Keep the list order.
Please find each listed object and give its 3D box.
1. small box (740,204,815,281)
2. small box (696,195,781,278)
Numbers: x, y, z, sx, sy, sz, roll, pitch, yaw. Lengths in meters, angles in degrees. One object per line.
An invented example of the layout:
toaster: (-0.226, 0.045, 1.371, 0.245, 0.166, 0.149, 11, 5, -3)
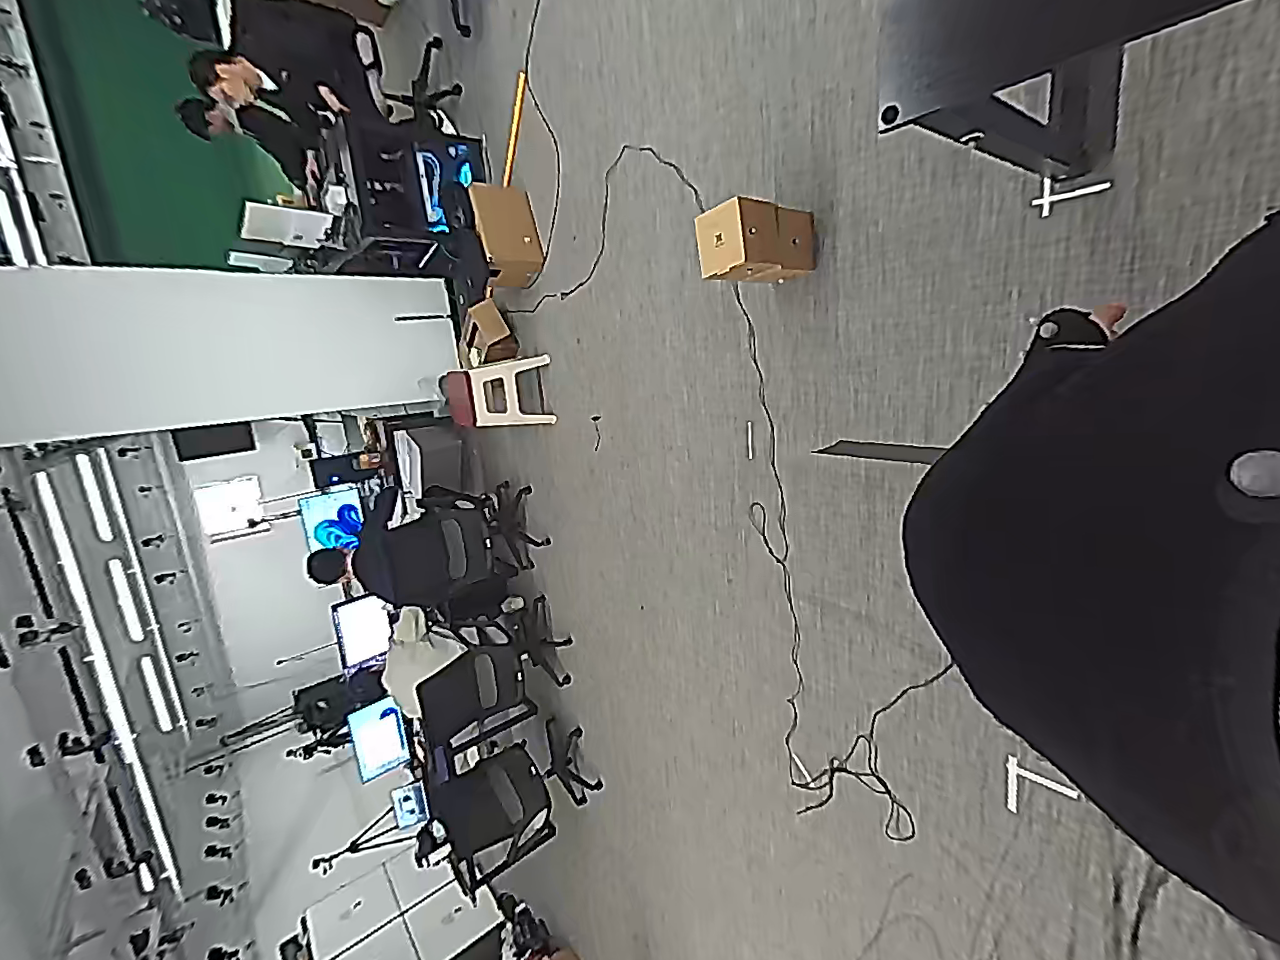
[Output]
small box: (0.414, -0.715, 1.648, 0.168, 0.176, 0.179, 6, 107, 52)
small box: (0.286, -0.689, 1.551, 0.168, 0.176, 0.179, 1, 101, 52)
